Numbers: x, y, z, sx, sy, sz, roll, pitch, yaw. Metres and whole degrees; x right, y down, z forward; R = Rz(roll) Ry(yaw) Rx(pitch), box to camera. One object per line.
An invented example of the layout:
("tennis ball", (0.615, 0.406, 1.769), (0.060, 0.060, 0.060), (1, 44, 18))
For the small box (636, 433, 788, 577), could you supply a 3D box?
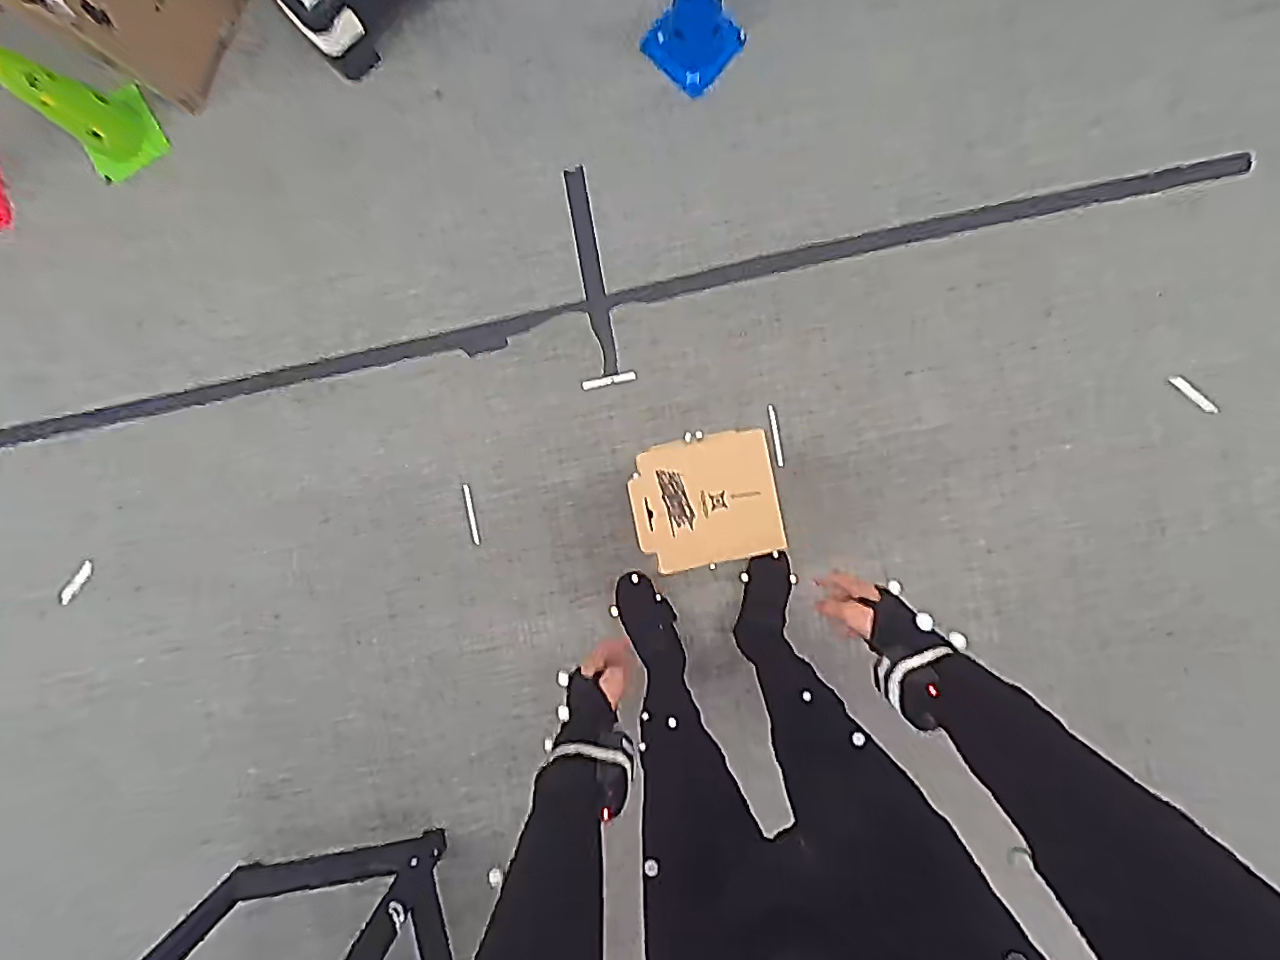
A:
("small box", (0.097, 0.033, 0.792), (0.179, 0.176, 0.168), (-12, 91, 1))
